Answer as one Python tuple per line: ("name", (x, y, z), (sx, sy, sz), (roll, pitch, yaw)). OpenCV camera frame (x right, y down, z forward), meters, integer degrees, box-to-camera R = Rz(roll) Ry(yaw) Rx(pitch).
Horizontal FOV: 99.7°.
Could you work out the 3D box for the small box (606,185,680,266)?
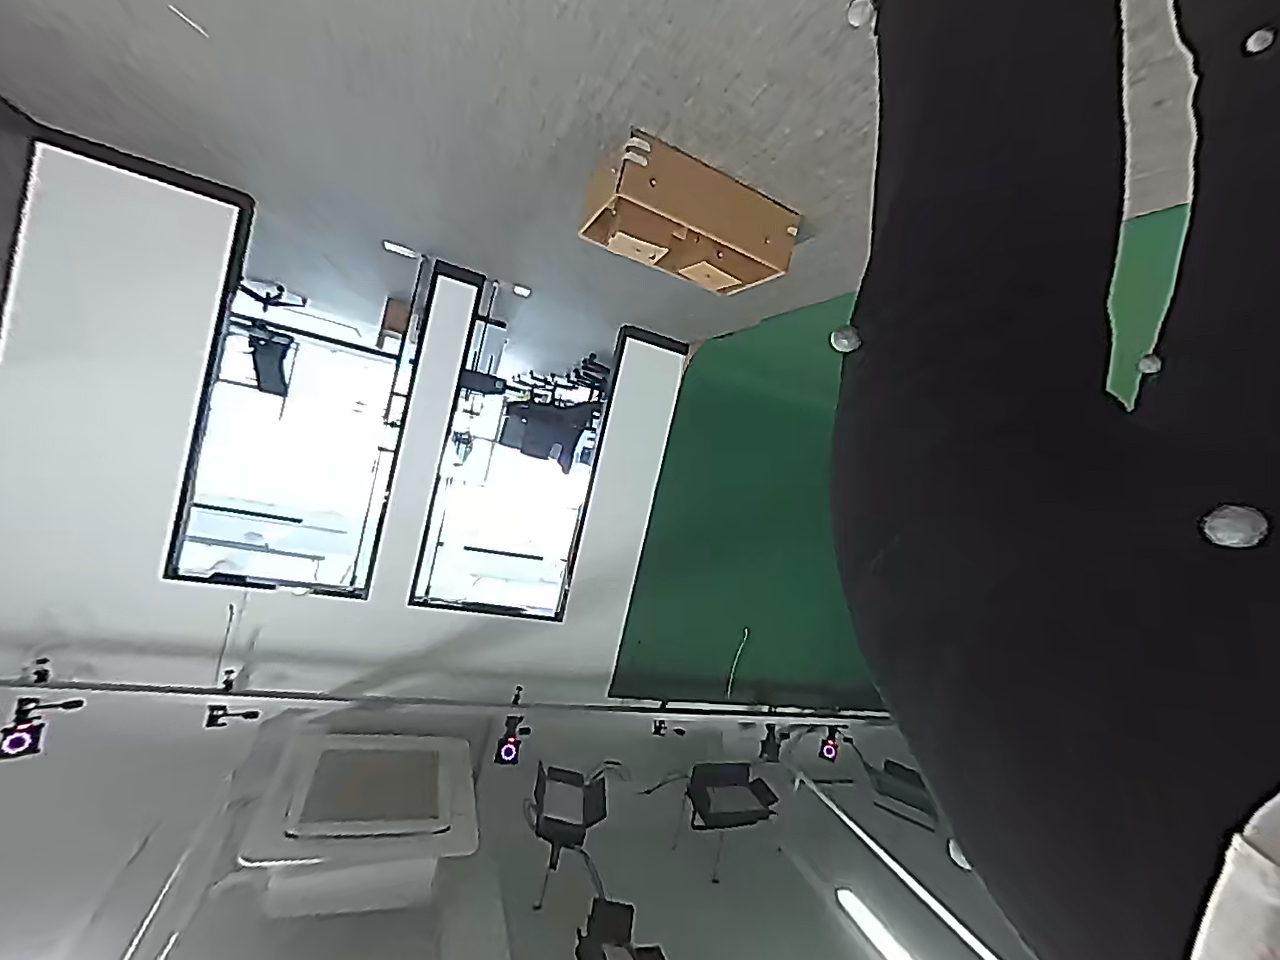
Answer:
("small box", (0.010, -0.827, 1.757), (0.179, 0.176, 0.168), (12, -179, -19))
